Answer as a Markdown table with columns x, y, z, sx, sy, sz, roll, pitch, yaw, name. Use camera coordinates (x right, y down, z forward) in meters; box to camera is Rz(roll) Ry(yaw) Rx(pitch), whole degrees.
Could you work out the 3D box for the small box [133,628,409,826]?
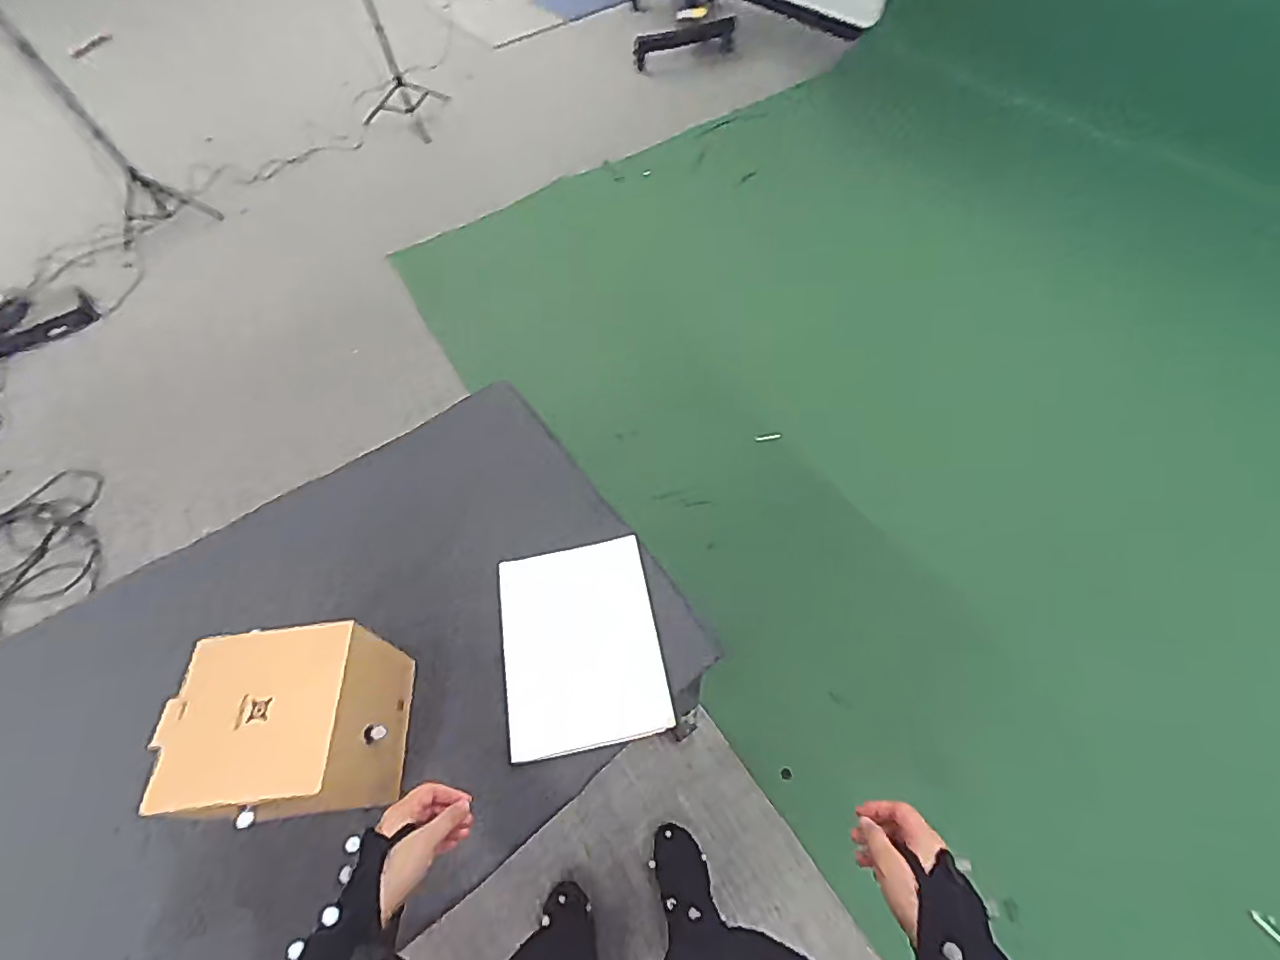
| x | y | z | sx | sy | sz | roll | pitch | yaw | name |
| --- | --- | --- | --- | --- | --- | --- | --- | --- | --- |
| -0.381 | 0.278 | 0.603 | 0.179 | 0.176 | 0.168 | -8 | 57 | 0 | small box |
